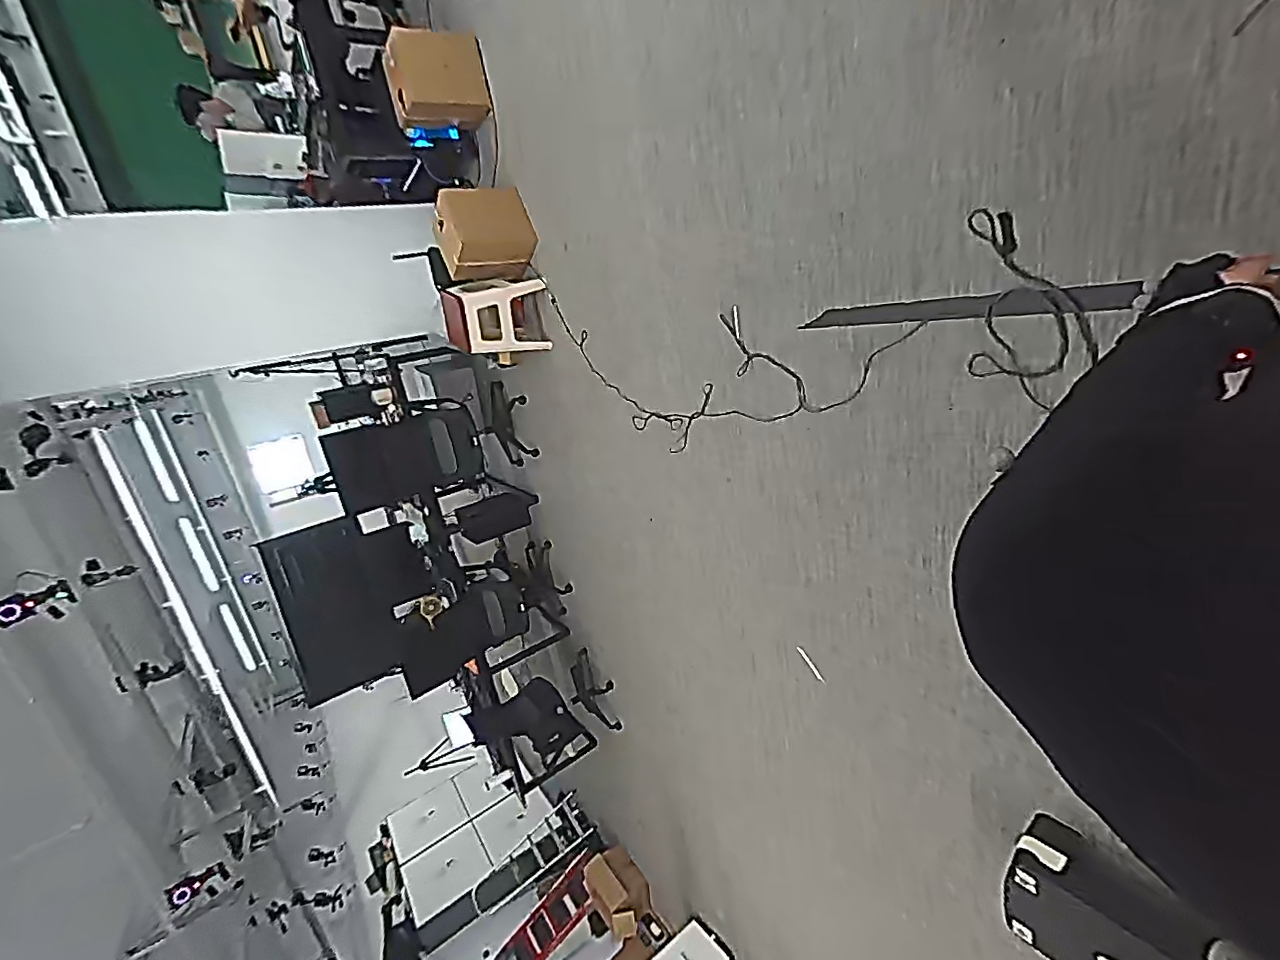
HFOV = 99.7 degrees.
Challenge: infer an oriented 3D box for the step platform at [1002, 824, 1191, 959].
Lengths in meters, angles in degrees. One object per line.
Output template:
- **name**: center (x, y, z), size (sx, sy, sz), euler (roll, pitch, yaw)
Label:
- **step platform**: center (1.251, 1.172, 1.262), size (0.684, 0.204, 0.286), euler (15, 121, 53)
